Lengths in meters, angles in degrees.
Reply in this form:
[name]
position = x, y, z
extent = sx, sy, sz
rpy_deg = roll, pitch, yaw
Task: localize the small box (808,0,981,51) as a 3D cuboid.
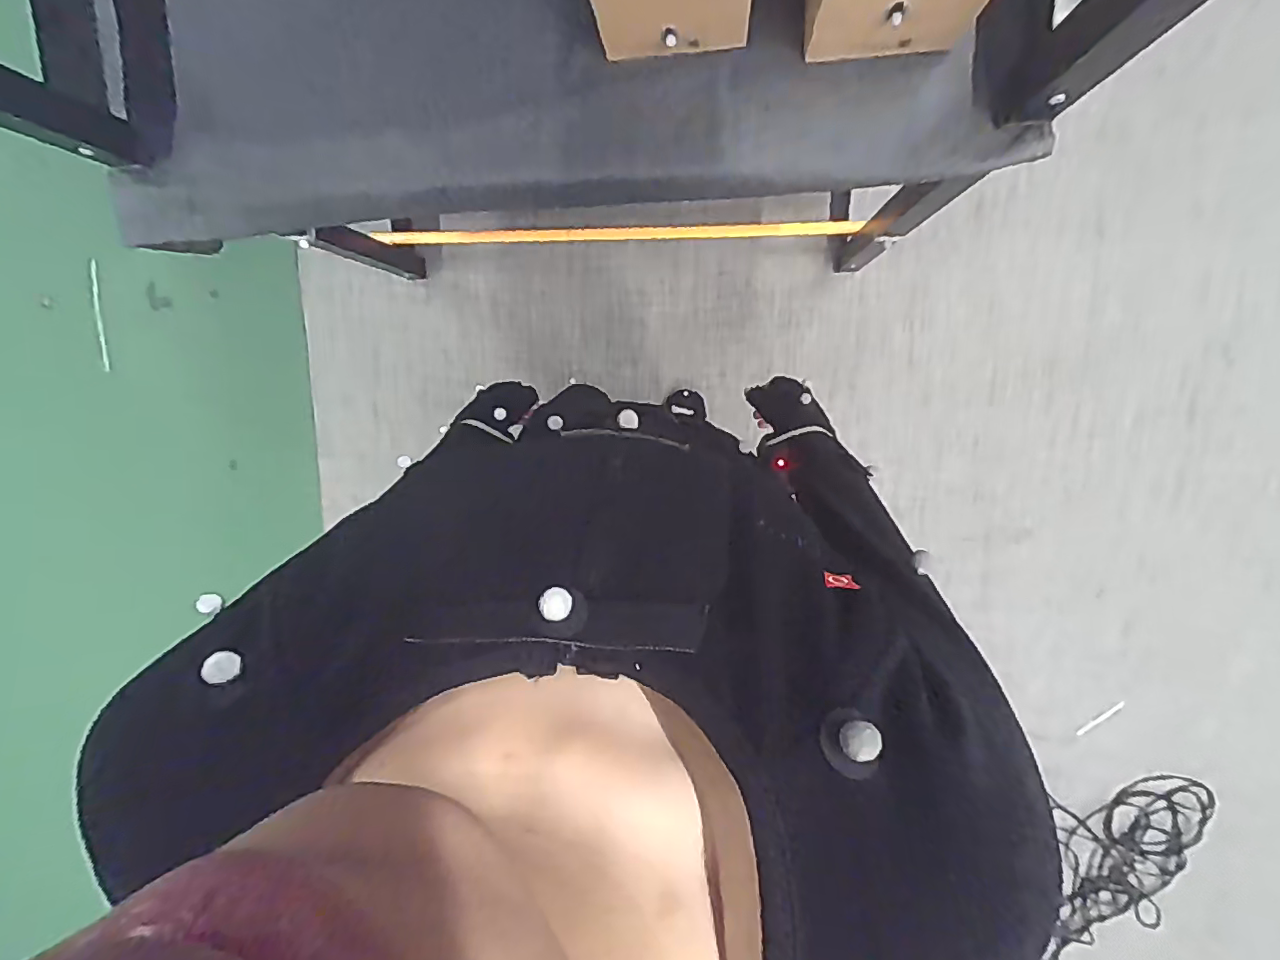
[small box]
position = 0.263, -0.555, 0.524
extent = 0.168, 0.176, 0.179
rpy_deg = 0, 99, 7
